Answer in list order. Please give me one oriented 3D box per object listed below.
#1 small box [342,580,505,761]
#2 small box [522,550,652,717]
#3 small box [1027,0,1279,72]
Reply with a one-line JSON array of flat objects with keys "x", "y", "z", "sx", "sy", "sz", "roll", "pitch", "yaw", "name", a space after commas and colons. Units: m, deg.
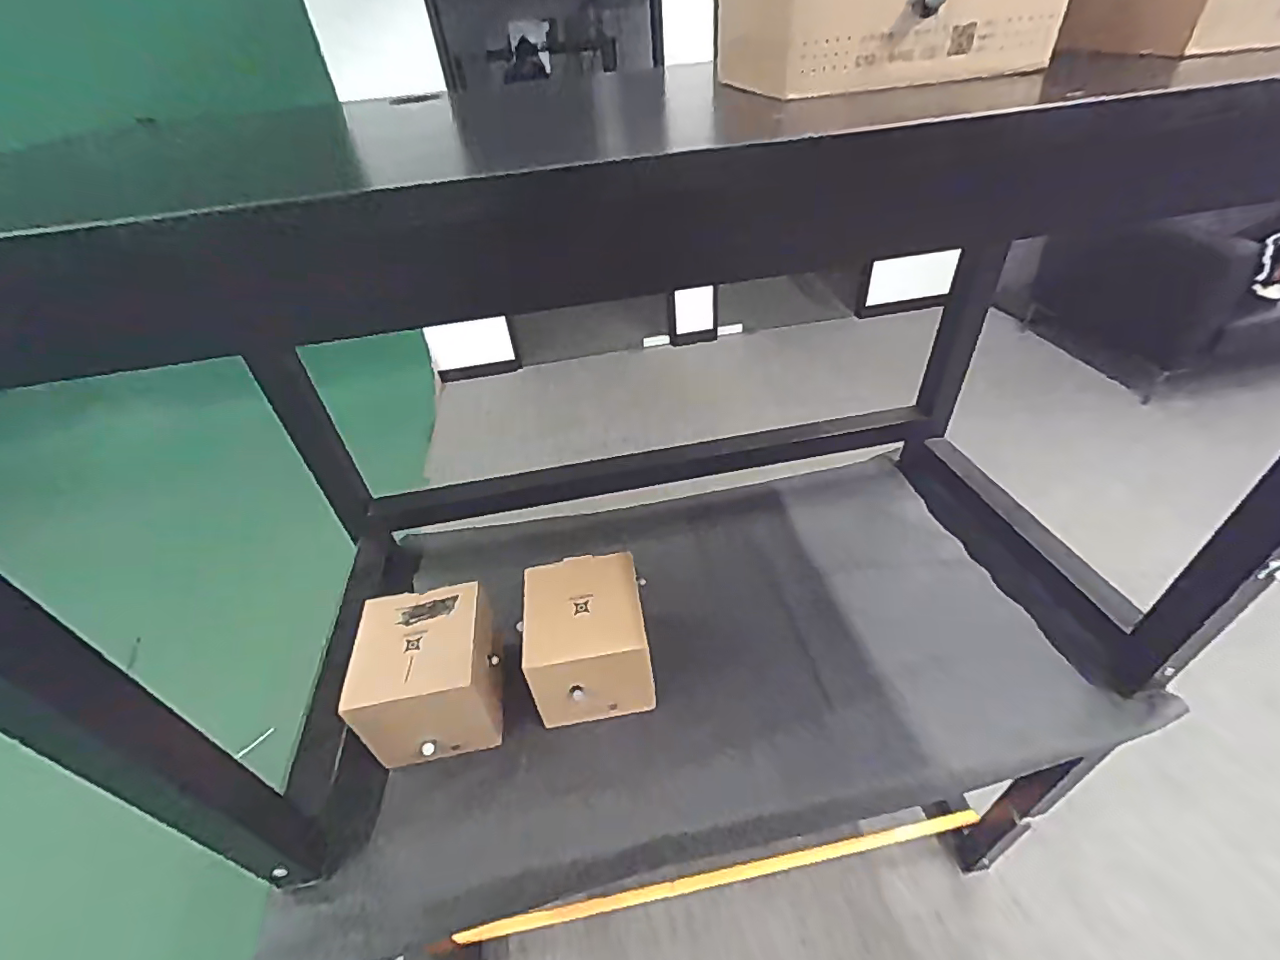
[{"x": -0.300, "y": 0.277, "z": 0.793, "sx": 0.168, "sy": 0.176, "sz": 0.179, "roll": -9, "pitch": 40, "yaw": -5, "name": "small box"}, {"x": -0.078, "y": 0.236, "z": 0.819, "sx": 0.168, "sy": 0.176, "sz": 0.179, "roll": -9, "pitch": 39, "yaw": -4, "name": "small box"}, {"x": 0.398, "y": -0.372, "z": 0.343, "sx": 0.168, "sy": 0.176, "sz": 0.179, "roll": -2, "pitch": 39, "yaw": 4, "name": "small box"}]
